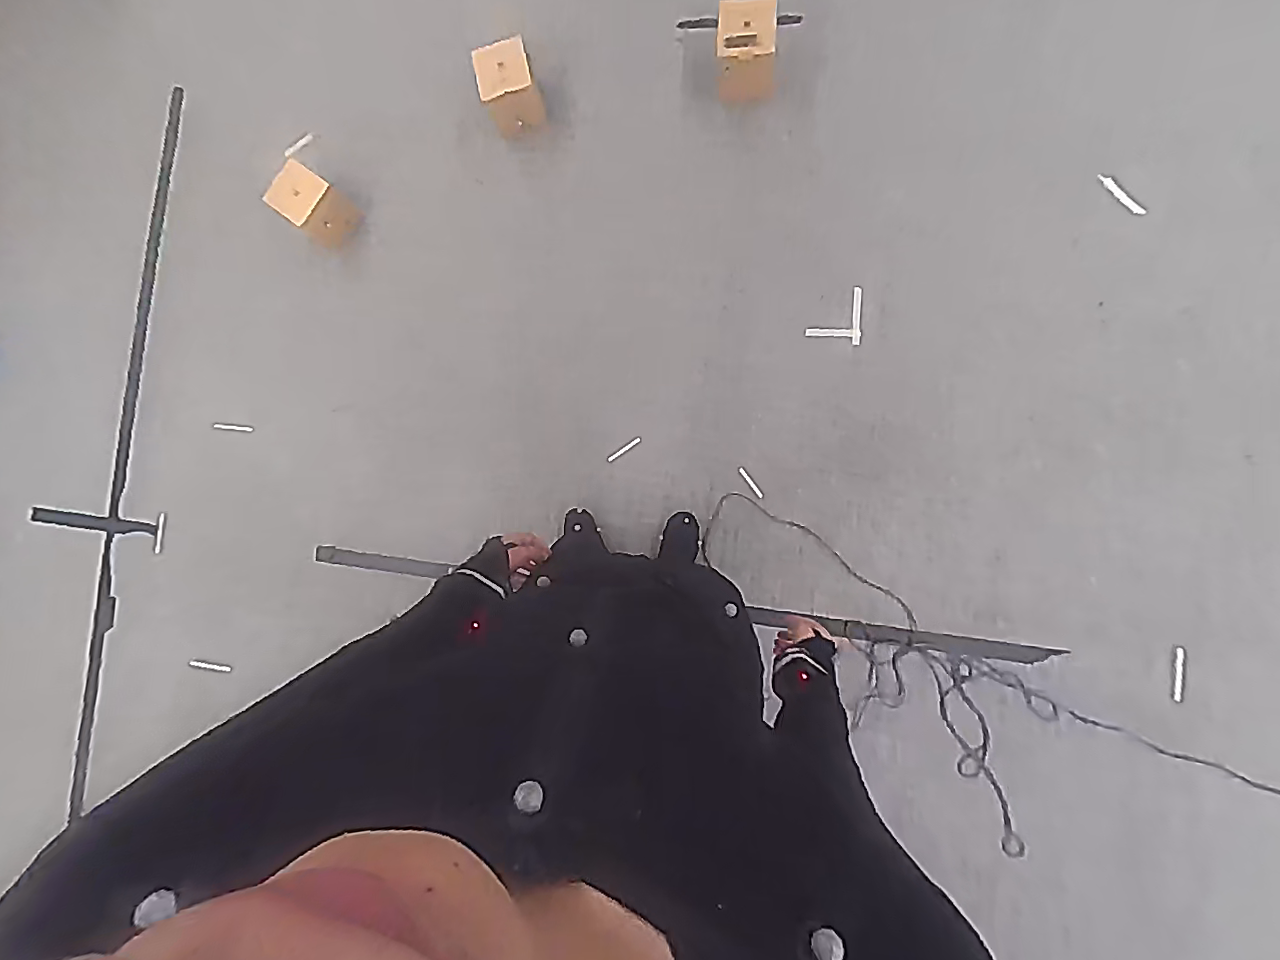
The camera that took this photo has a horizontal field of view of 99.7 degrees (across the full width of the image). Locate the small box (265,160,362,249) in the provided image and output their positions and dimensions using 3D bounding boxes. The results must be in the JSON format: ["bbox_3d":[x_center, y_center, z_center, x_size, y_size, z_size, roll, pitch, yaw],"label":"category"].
[{"bbox_3d":[-1.061,-0.891,1.773,0.179,0.176,0.168,36,92,9],"label":"small box"}]

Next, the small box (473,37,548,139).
[{"bbox_3d":[-0.404,-1.233,1.711,0.168,0.176,0.179,-14,85,7],"label":"small box"}]
